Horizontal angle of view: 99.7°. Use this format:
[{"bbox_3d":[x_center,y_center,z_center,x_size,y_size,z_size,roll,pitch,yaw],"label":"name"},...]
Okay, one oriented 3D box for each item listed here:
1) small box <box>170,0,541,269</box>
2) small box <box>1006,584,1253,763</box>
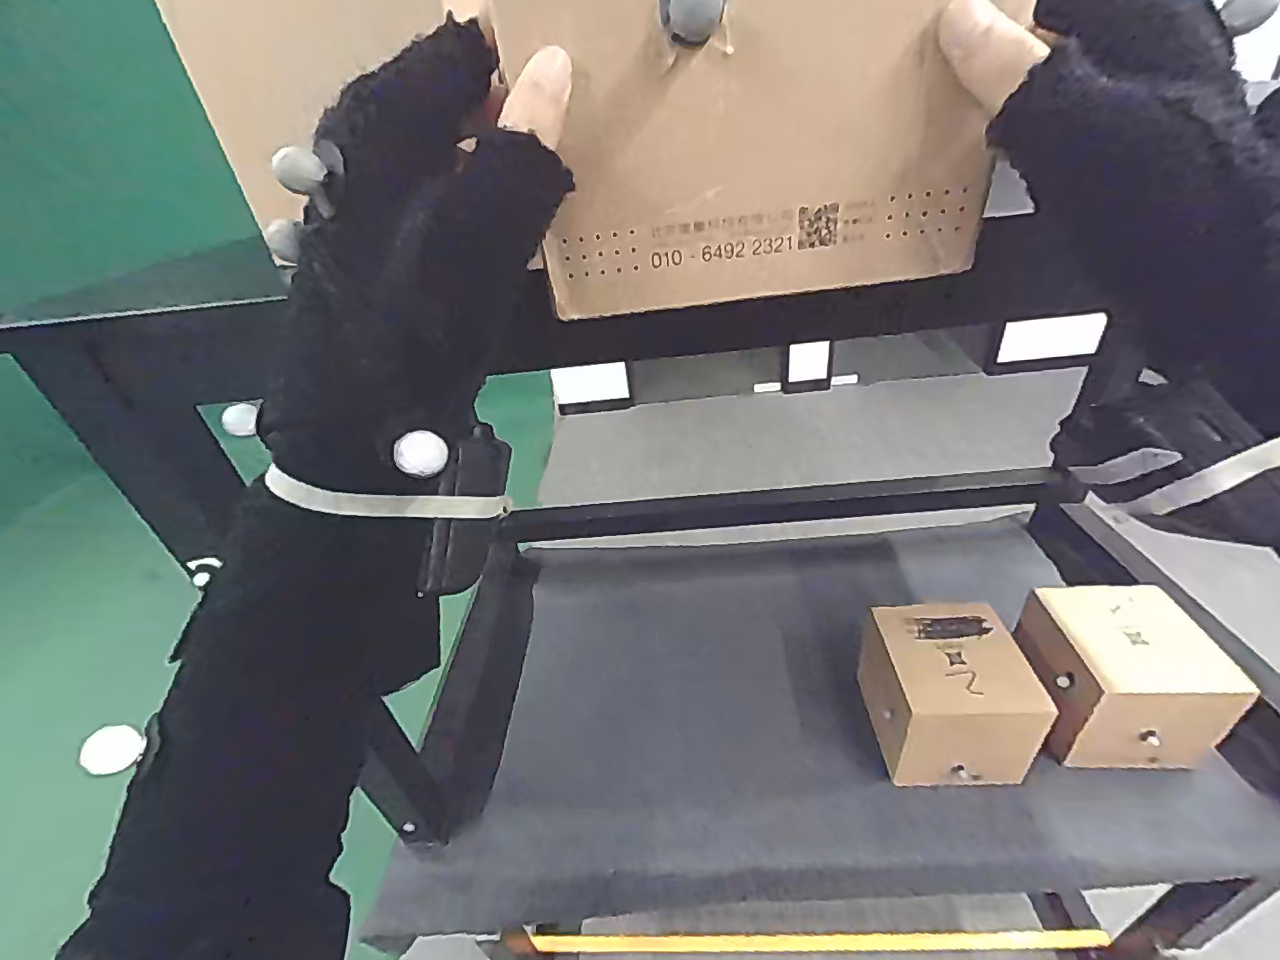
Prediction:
[{"bbox_3d":[-0.178,-0.266,0.402,0.168,0.176,0.179,-4,35,6],"label":"small box"},{"bbox_3d":[0.649,0.268,0.749,0.168,0.176,0.179,-3,33,7],"label":"small box"}]
